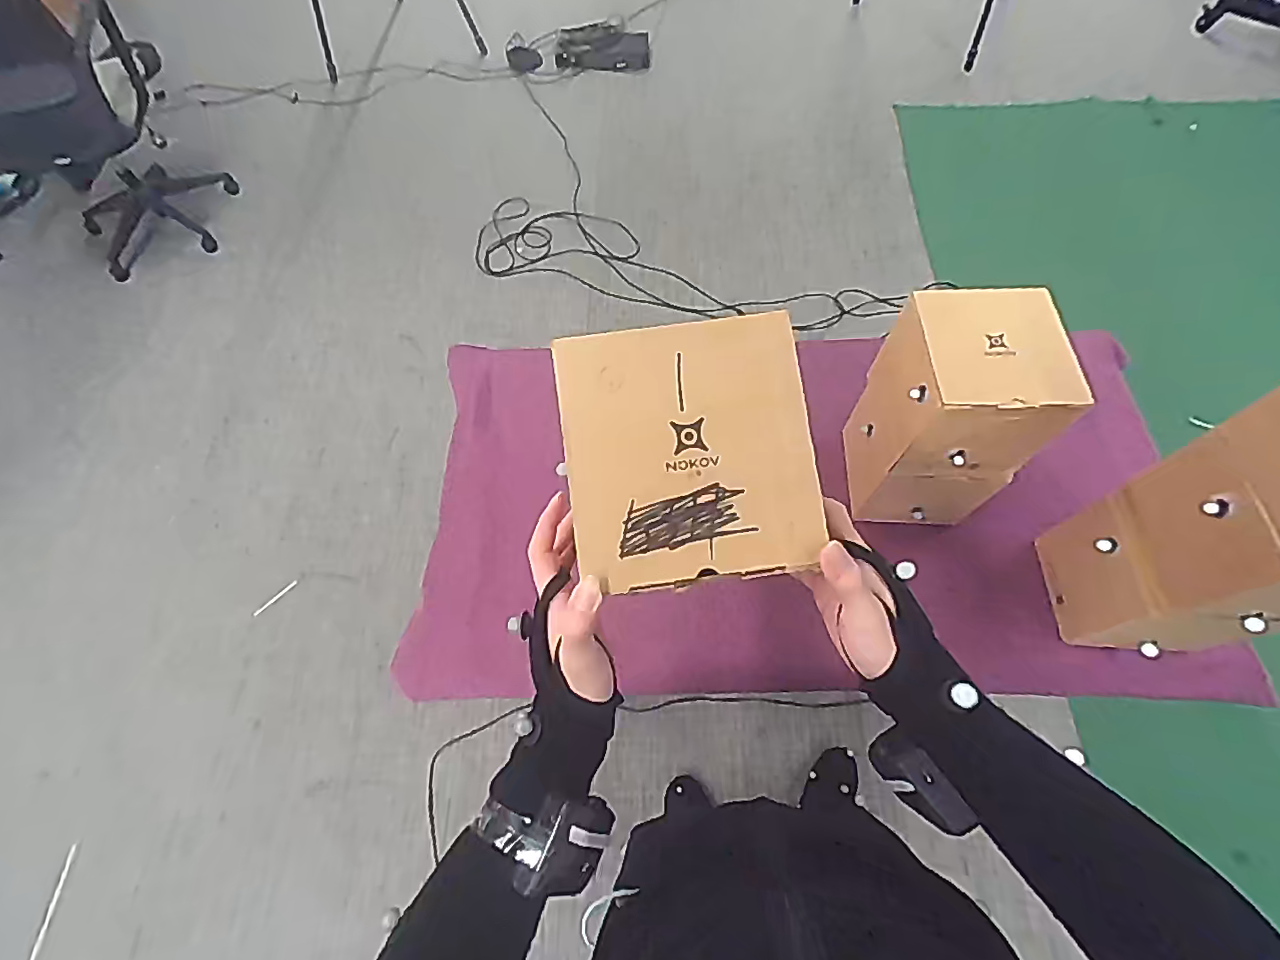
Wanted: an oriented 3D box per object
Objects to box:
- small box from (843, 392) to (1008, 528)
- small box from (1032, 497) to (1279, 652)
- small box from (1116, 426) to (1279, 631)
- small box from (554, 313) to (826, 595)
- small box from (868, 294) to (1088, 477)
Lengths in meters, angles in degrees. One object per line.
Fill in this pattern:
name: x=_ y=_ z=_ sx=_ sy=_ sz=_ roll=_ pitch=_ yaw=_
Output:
small box: x=0.429 y=-0.041 z=0.849 sx=0.168 sy=0.176 sz=0.179 roll=3 pitch=64 yaw=4
small box: x=0.697 y=0.136 z=0.747 sx=0.179 sy=0.176 sz=0.168 roll=3 pitch=62 yaw=4
small box: x=0.692 y=0.059 z=0.604 sx=0.168 sy=0.176 sz=0.179 roll=2 pitch=63 yaw=6
small box: x=0.031 y=-0.012 z=0.440 sx=0.168 sy=0.176 sz=0.179 roll=-8 pitch=83 yaw=-2
small box: x=0.417 y=-0.118 z=0.706 sx=0.168 sy=0.176 sz=0.179 roll=0 pitch=64 yaw=2
